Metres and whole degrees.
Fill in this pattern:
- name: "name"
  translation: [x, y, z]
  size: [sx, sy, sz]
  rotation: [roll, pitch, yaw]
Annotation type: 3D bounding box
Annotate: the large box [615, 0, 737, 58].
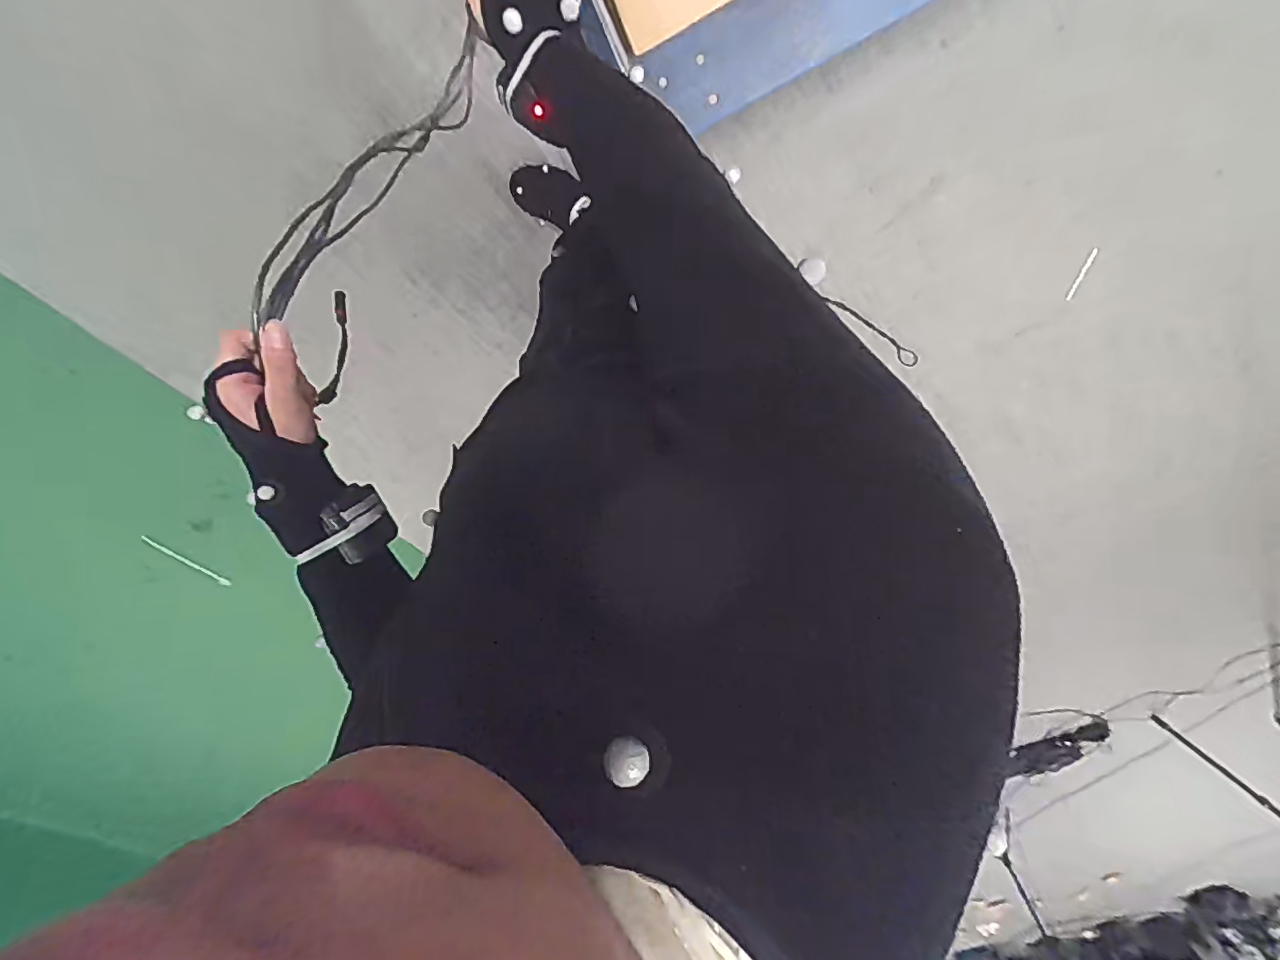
- name: "large box"
  translation: [0.111, -0.901, 0.788]
  size: [0.408, 0.320, 0.320]
  rotation: [-22, 125, 13]
